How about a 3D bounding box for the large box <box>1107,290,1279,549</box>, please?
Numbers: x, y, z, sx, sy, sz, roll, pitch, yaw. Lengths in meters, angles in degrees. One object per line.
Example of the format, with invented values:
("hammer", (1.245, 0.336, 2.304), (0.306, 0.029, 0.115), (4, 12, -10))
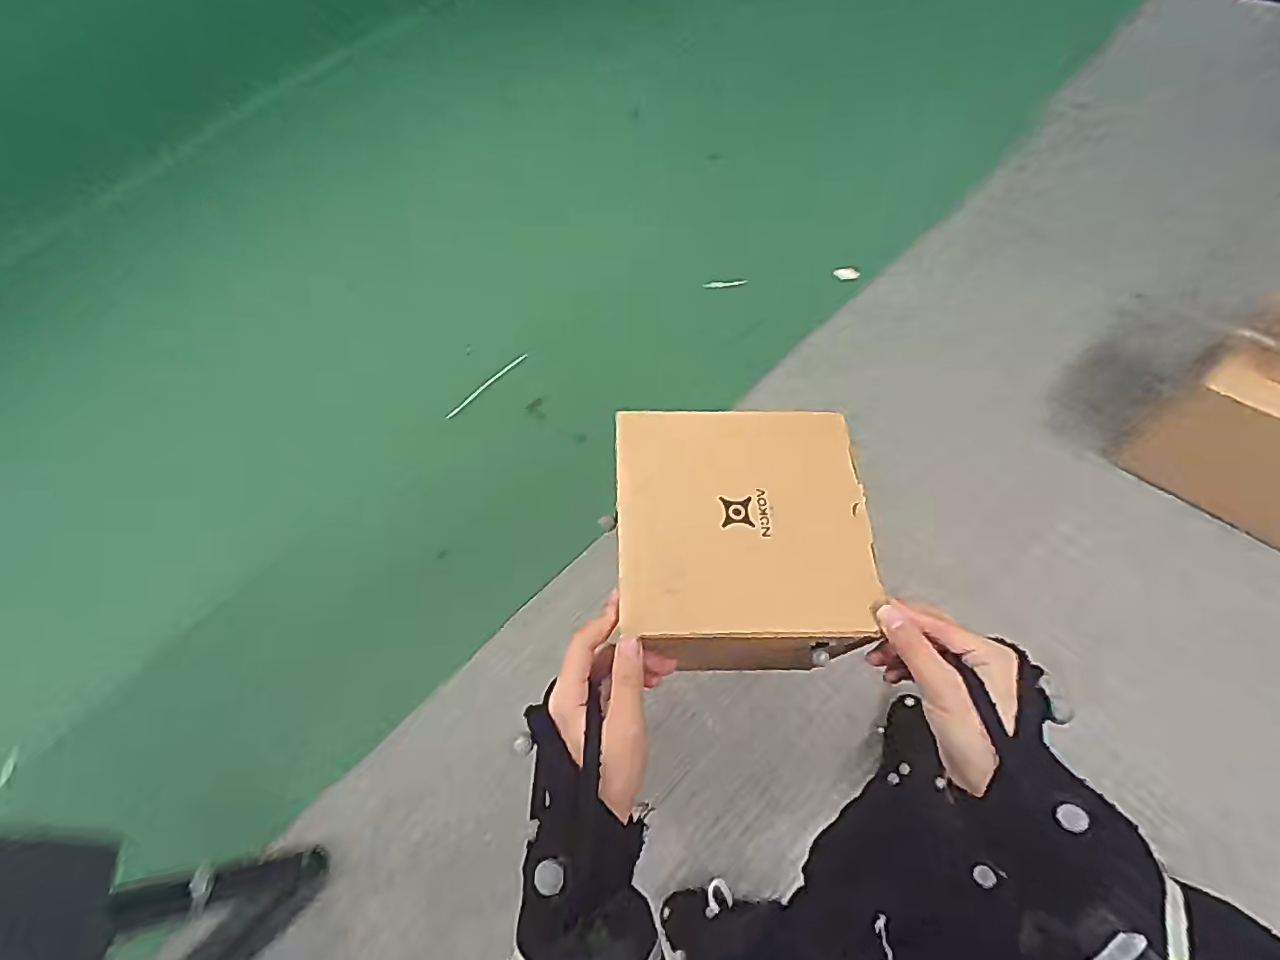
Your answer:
("large box", (1.318, -0.106, 1.106), (0.408, 0.320, 0.320), (38, 77, 24))
